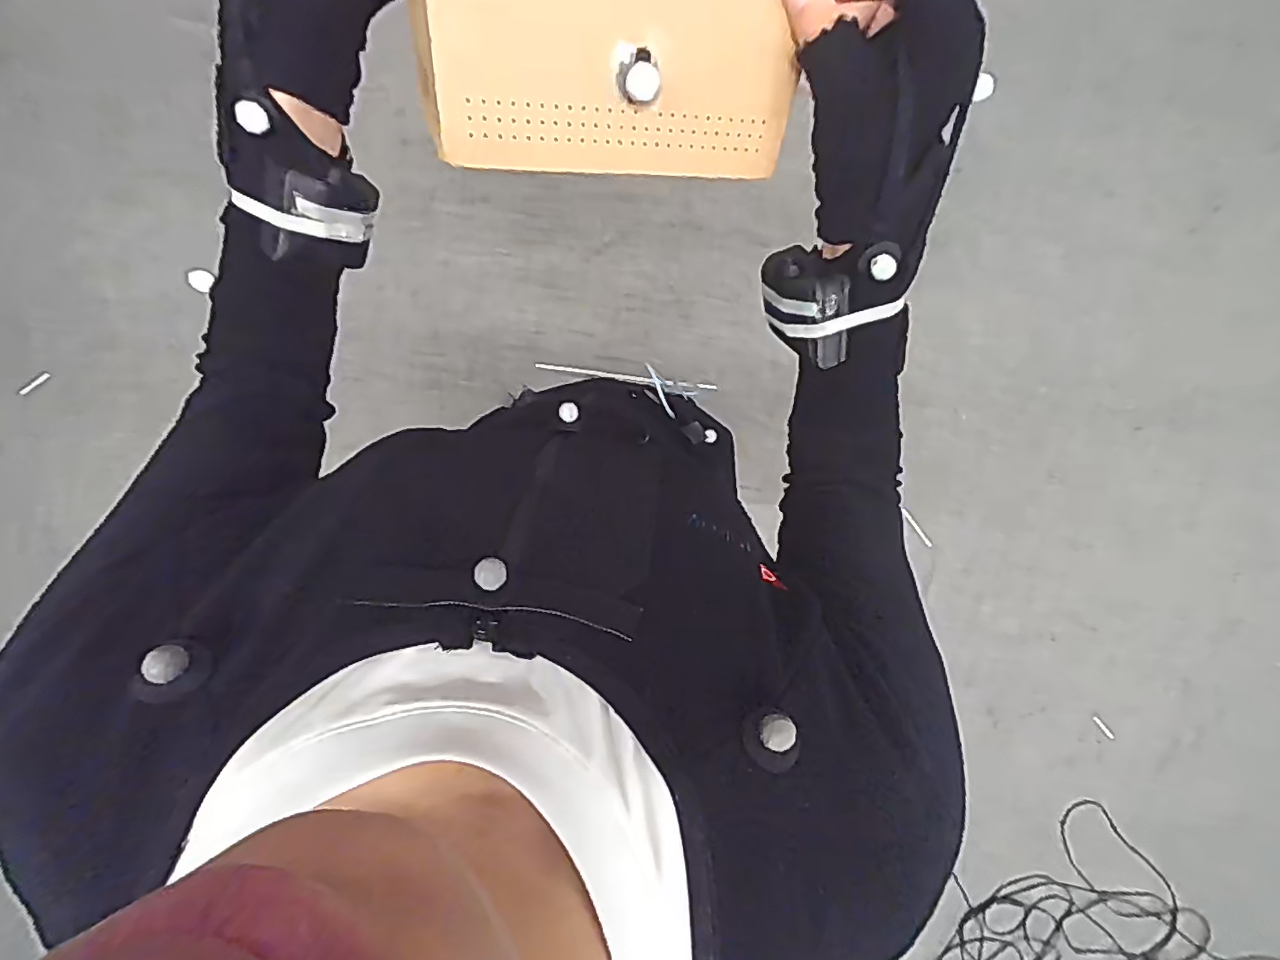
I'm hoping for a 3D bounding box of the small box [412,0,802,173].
[{"bbox_3d":[-0.024,-0.272,0.277,0.179,0.168,0.176,-9,136,-20],"label":"small box"}]
